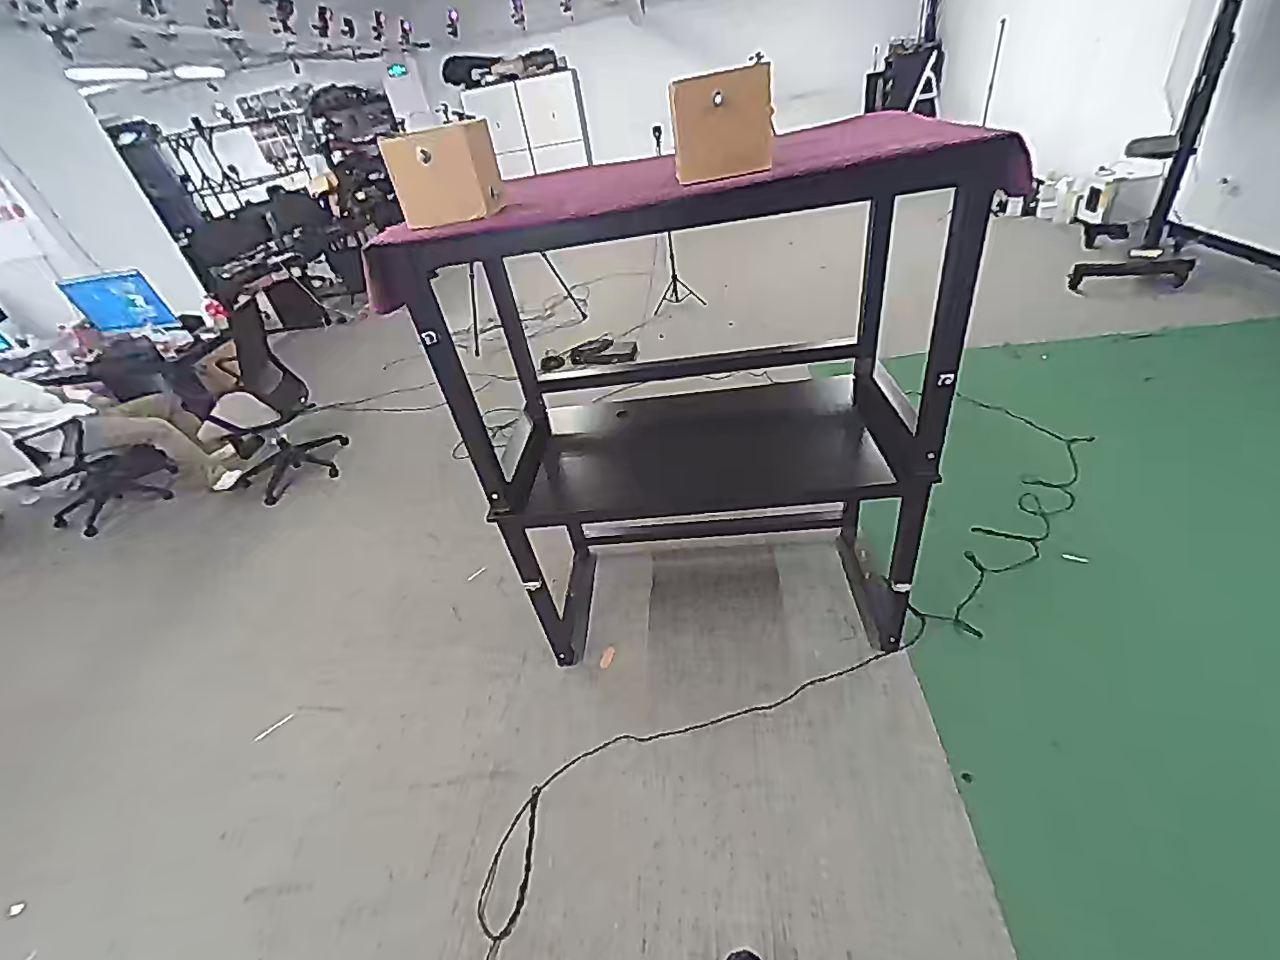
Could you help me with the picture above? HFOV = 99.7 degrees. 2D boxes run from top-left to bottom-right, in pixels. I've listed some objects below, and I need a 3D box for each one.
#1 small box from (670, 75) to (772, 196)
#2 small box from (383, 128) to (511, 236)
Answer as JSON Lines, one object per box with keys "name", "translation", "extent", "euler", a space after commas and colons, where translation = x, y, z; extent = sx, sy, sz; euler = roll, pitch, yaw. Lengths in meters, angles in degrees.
{"name": "small box", "translation": [0.158, -0.678, 1.065], "extent": [0.179, 0.176, 0.168], "euler": [-8, 34, 6]}
{"name": "small box", "translation": [-0.392, -0.622, 1.132], "extent": [0.179, 0.176, 0.168], "euler": [-5, 36, 7]}
